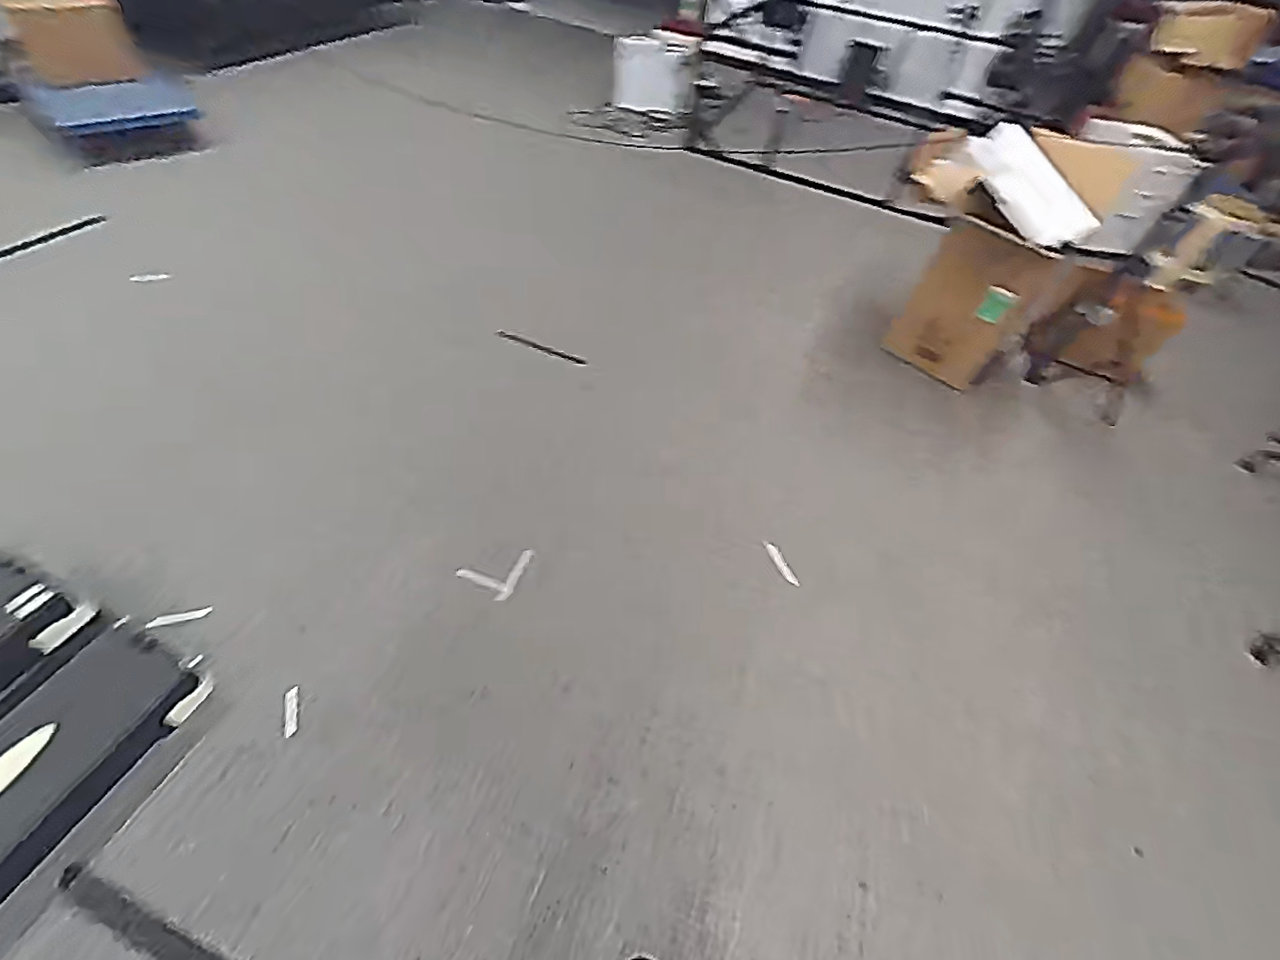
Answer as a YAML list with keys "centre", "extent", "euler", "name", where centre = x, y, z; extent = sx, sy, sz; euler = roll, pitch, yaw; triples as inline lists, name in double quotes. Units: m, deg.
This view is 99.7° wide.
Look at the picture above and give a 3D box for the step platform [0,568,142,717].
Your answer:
- centre: [-1.428, 0.498, 1.039]
  extent: [0.286, 0.204, 0.684]
  euler: [25, 49, 13]
  name: "step platform"
